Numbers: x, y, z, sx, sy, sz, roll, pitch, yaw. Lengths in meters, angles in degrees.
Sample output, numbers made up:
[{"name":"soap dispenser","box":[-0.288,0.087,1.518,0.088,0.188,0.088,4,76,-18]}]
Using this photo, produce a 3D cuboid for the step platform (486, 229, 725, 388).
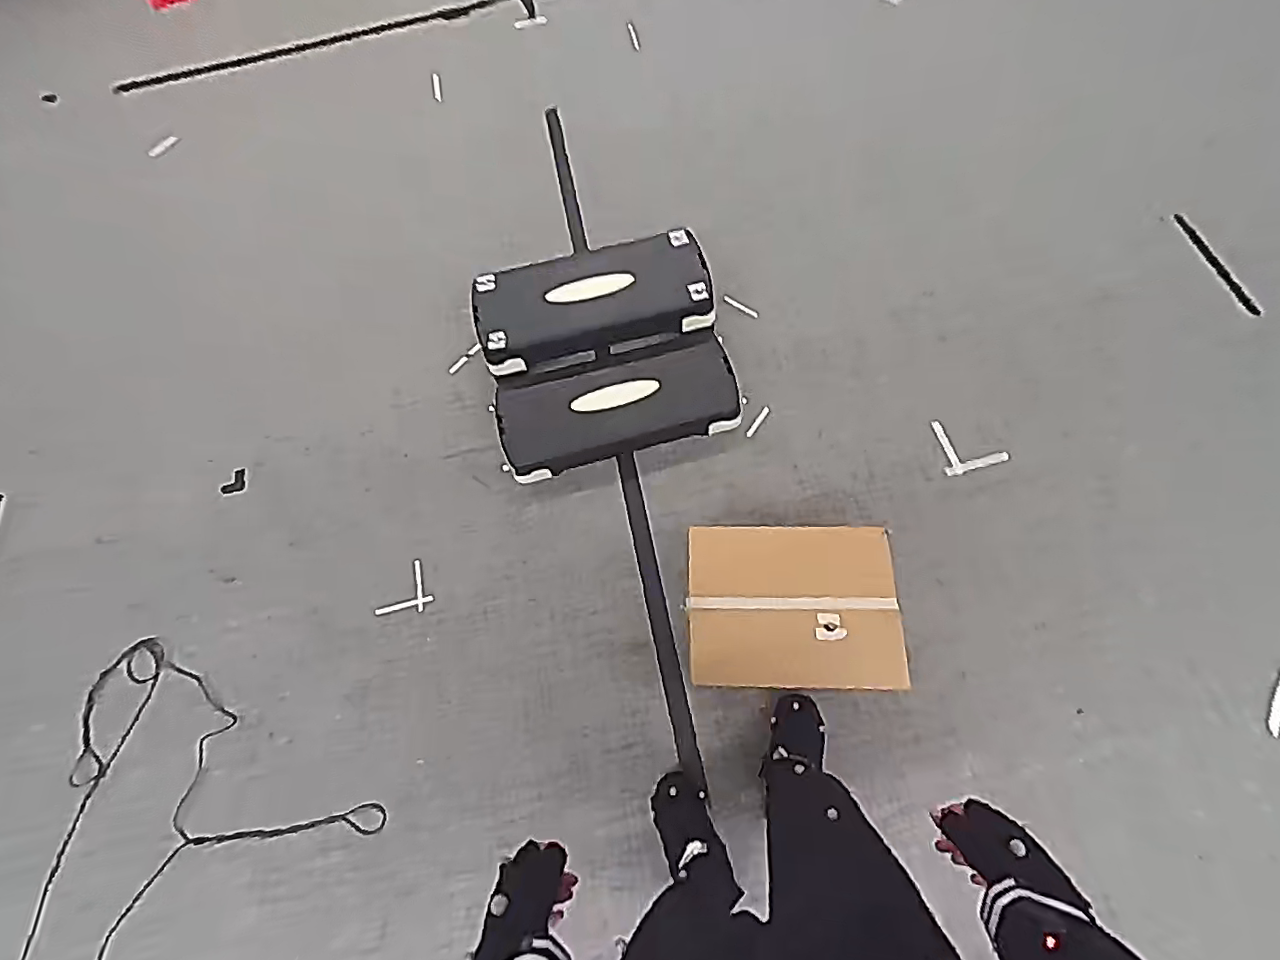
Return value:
[{"name":"step platform","box":[-0.100,-0.506,1.593,0.684,0.204,0.286,-14,69,-2]}]

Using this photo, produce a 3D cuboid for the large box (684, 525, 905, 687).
[{"name":"large box","box":[0.306,0.294,1.209,0.408,0.320,0.320,0,69,3]}]
